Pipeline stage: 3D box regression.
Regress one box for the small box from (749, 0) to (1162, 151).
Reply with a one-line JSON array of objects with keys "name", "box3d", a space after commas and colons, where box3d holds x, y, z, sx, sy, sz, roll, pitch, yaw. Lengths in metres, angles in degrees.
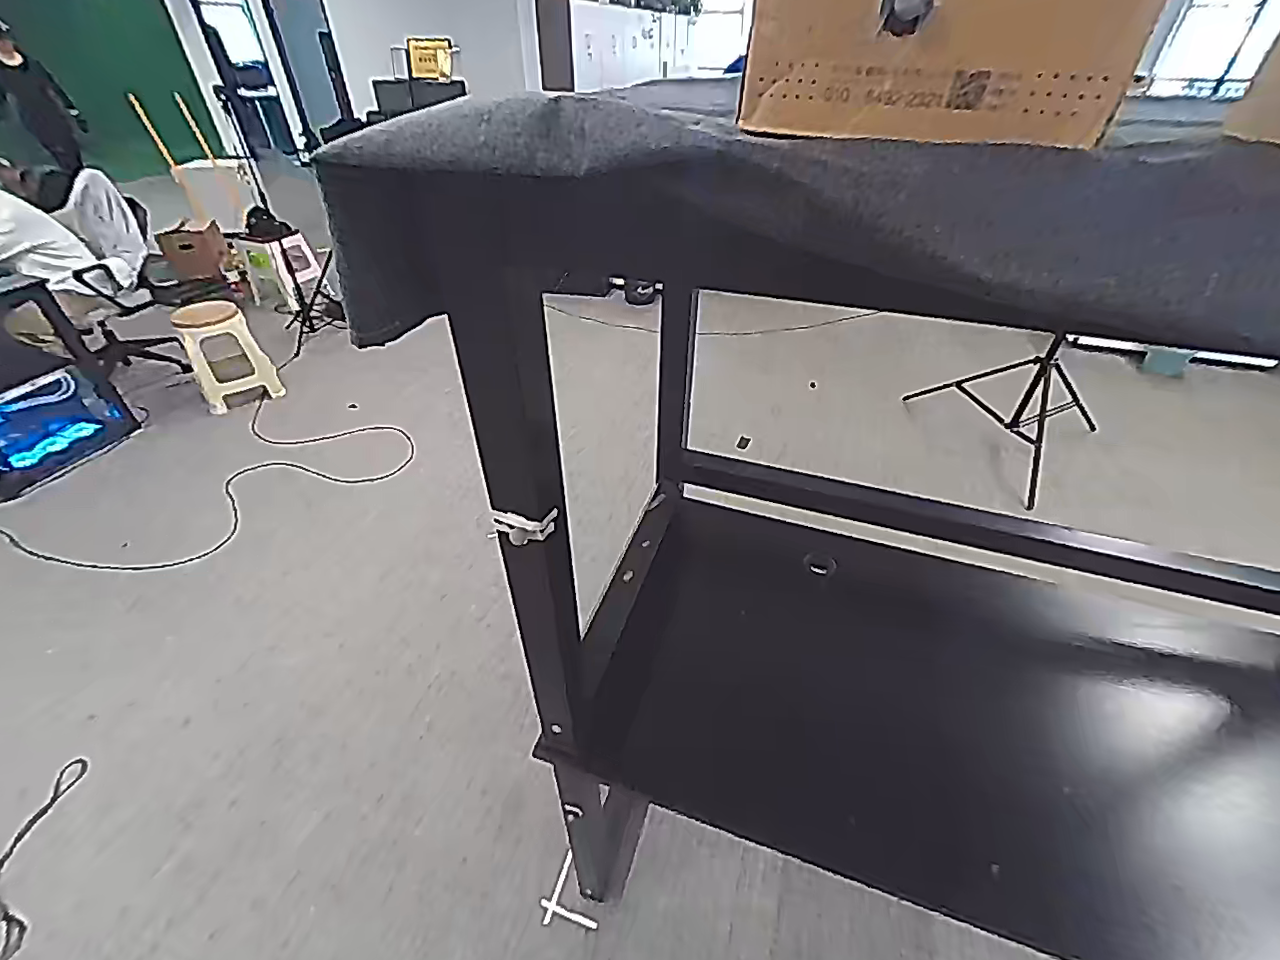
[{"name": "small box", "box3d": [0.159, -0.280, 0.275, 0.168, 0.176, 0.179, 13, 39, 13]}]
